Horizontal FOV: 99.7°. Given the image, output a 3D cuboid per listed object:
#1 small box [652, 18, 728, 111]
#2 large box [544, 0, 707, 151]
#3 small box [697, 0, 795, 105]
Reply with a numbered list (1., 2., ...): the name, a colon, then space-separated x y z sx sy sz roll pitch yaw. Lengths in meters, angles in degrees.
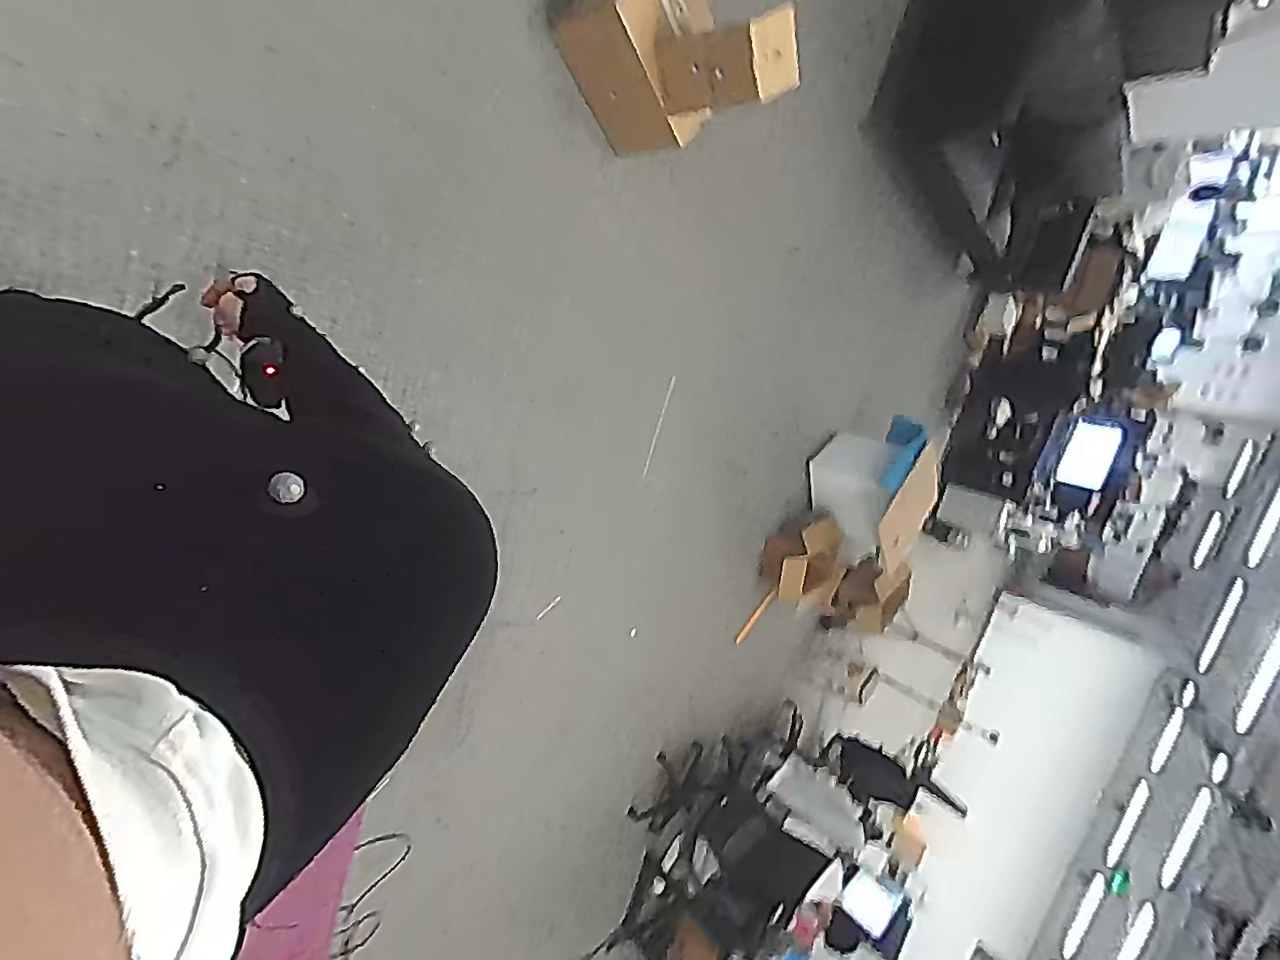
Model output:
1. small box: 0.162 -1.158 1.511 0.179 0.176 0.168 -41 133 -24
2. large box: -0.006 -1.298 1.643 0.320 0.320 0.408 -57 137 -11
3. small box: 0.276 -1.104 1.403 0.179 0.176 0.168 -41 133 -23
